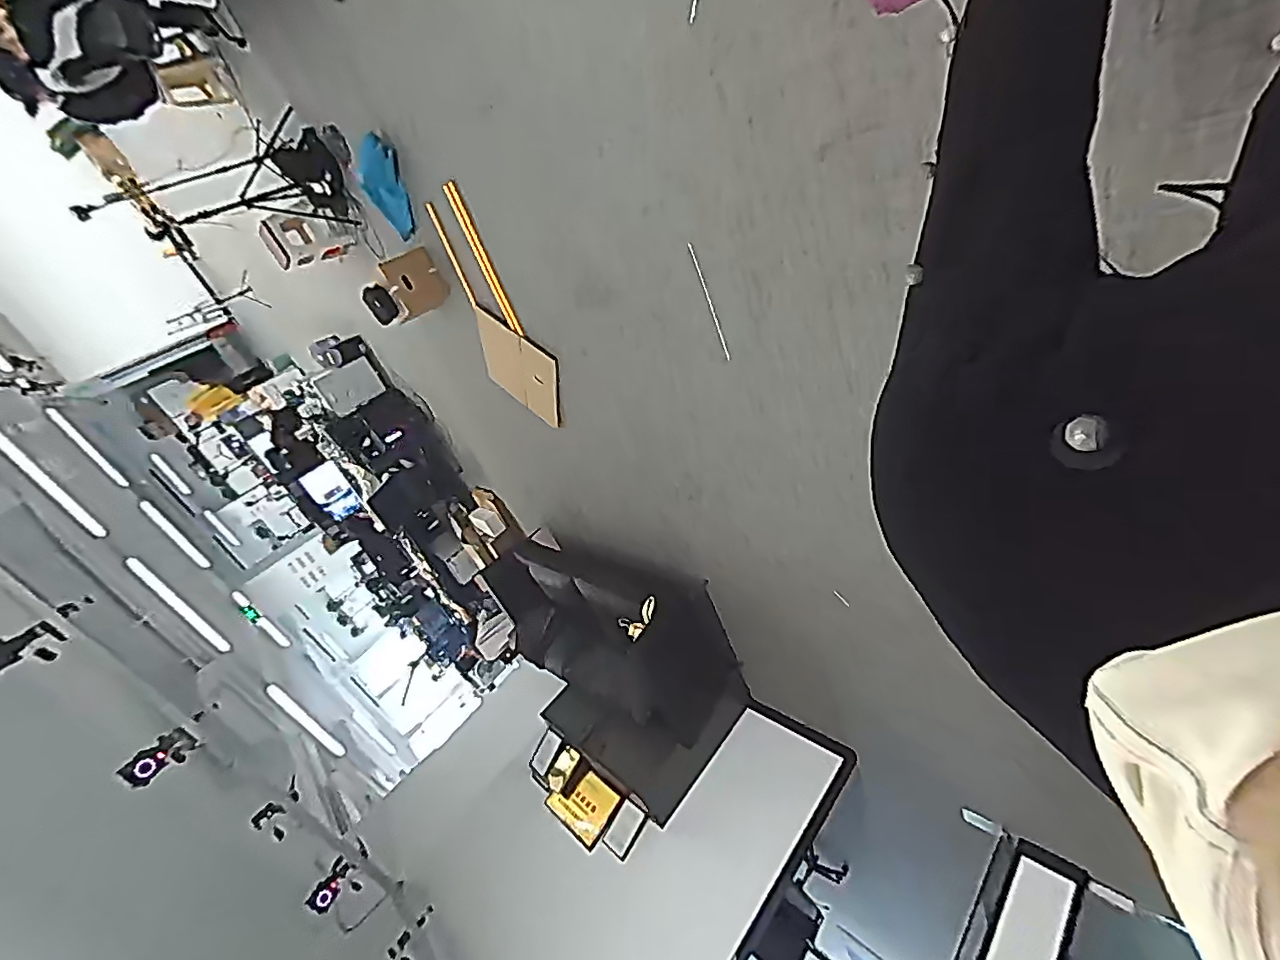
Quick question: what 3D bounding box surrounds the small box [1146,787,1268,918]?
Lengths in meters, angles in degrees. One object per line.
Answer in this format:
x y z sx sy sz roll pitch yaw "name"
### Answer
1.359 0.886 1.298 0.168 0.176 0.179 18 140 43 "small box"
